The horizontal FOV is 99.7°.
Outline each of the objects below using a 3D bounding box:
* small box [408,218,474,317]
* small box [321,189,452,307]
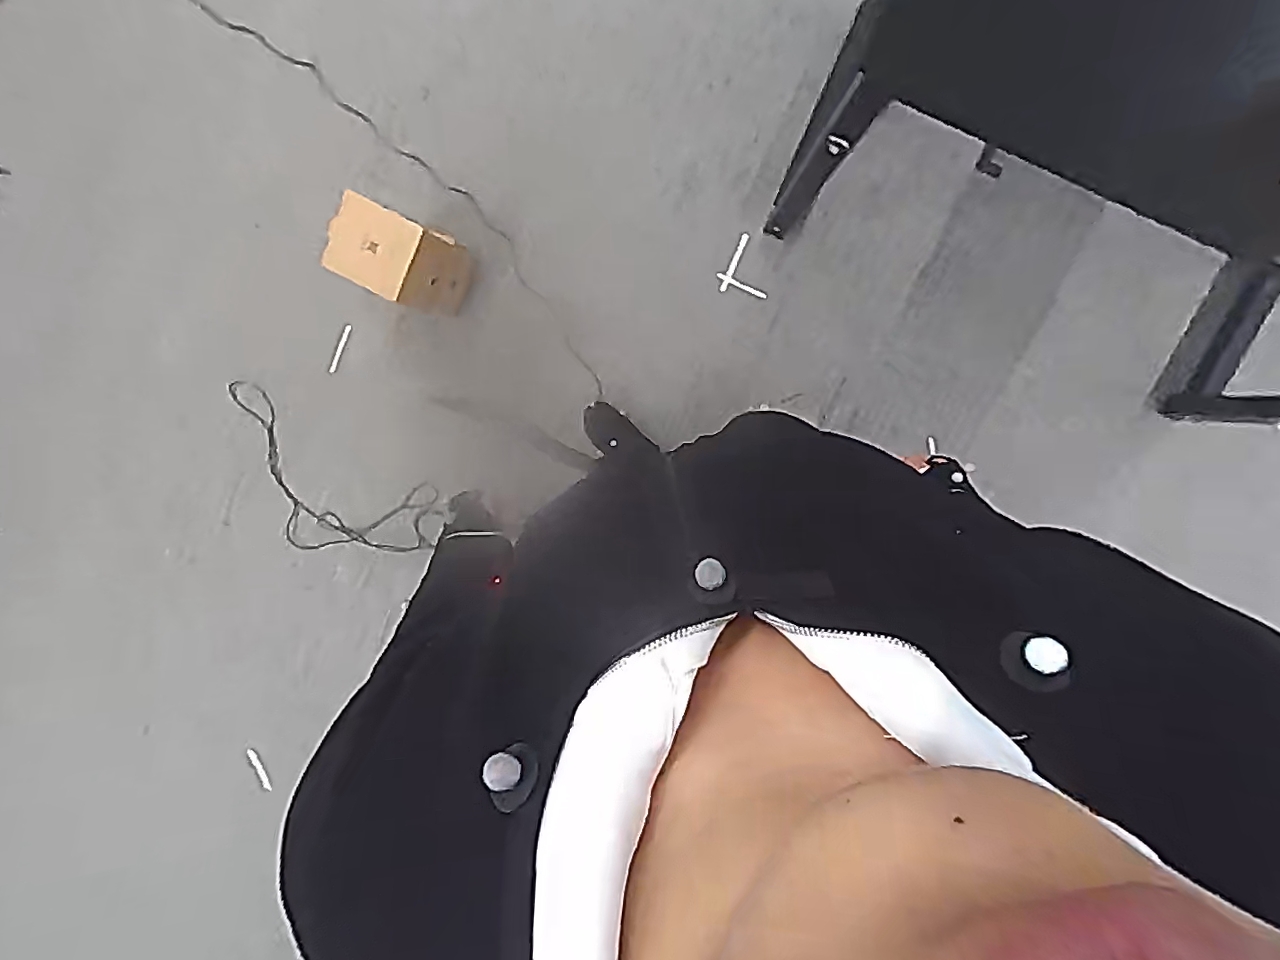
[{"bbox_3d":[-0.533,-0.525,1.346,0.168,0.176,0.179,24,100,-2],"label":"small box"},{"bbox_3d":[-0.546,-0.495,1.186,0.179,0.176,0.168,26,101,-3],"label":"small box"}]
